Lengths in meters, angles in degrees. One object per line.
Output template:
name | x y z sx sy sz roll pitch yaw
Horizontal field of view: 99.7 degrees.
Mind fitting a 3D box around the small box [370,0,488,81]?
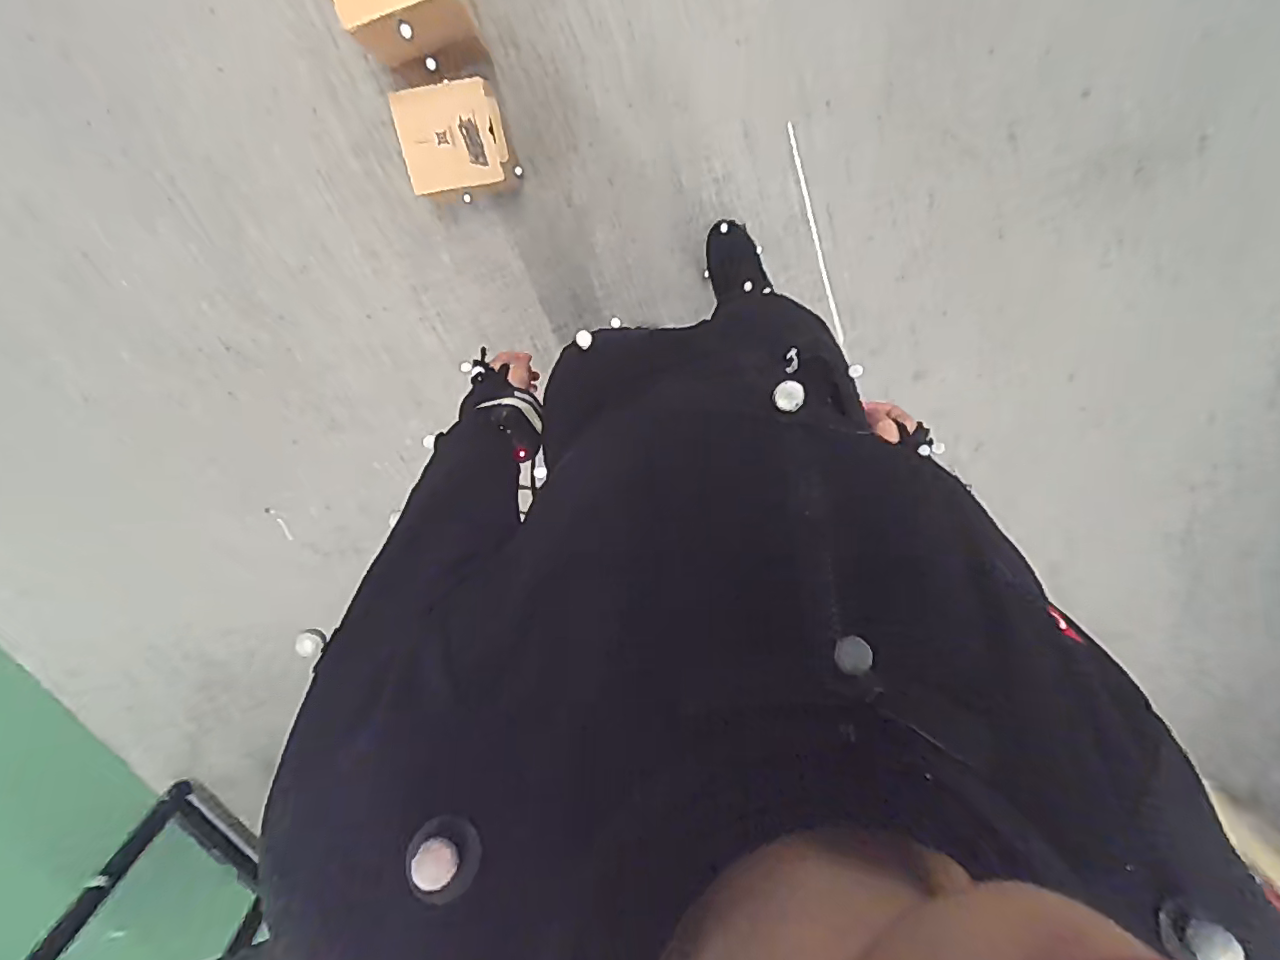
small box | -0.398 -0.850 0.964 0.179 0.176 0.168 -16 112 6

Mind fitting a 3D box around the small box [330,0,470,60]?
small box | -0.376 -0.780 0.817 0.179 0.176 0.168 -16 113 5
